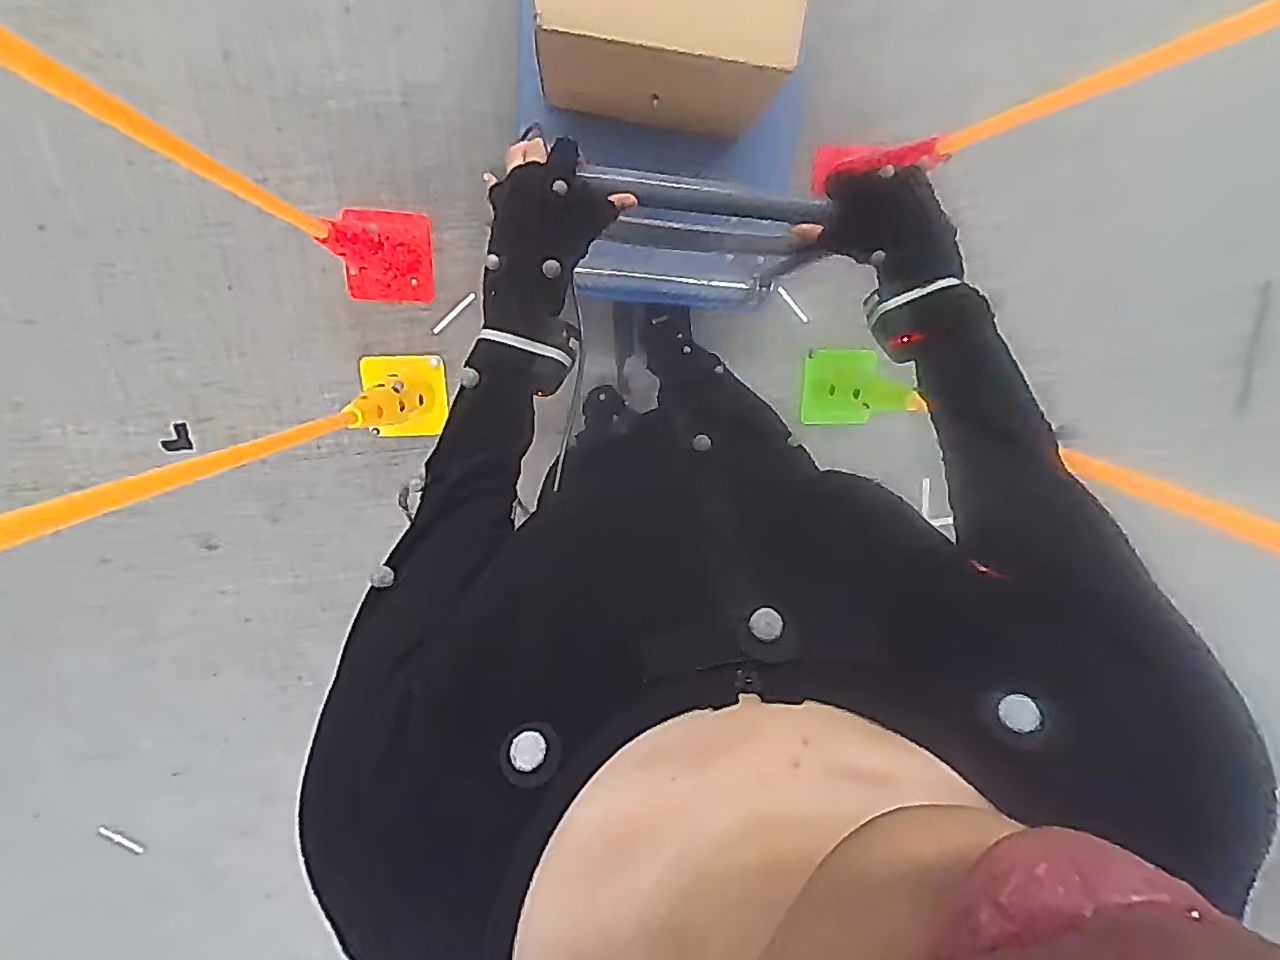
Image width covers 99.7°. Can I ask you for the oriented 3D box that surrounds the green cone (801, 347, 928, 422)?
[{"bbox_3d":[0.559,-0.213,1.304,0.202,0.368,0.200,-2,105,-7],"label":"green cone"}]

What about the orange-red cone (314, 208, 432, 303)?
[{"bbox_3d":[-0.571,-0.484,1.107,0.198,0.360,0.199,1,104,-8],"label":"orange-red cone"}]

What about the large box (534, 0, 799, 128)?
[{"bbox_3d":[0.039,-0.842,0.924,0.408,0.320,0.320,4,105,-7],"label":"large box"}]

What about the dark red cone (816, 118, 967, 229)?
[{"bbox_3d":[0.545,-0.676,1.158,0.201,0.394,0.202,-6,106,-7],"label":"dark red cone"}]
